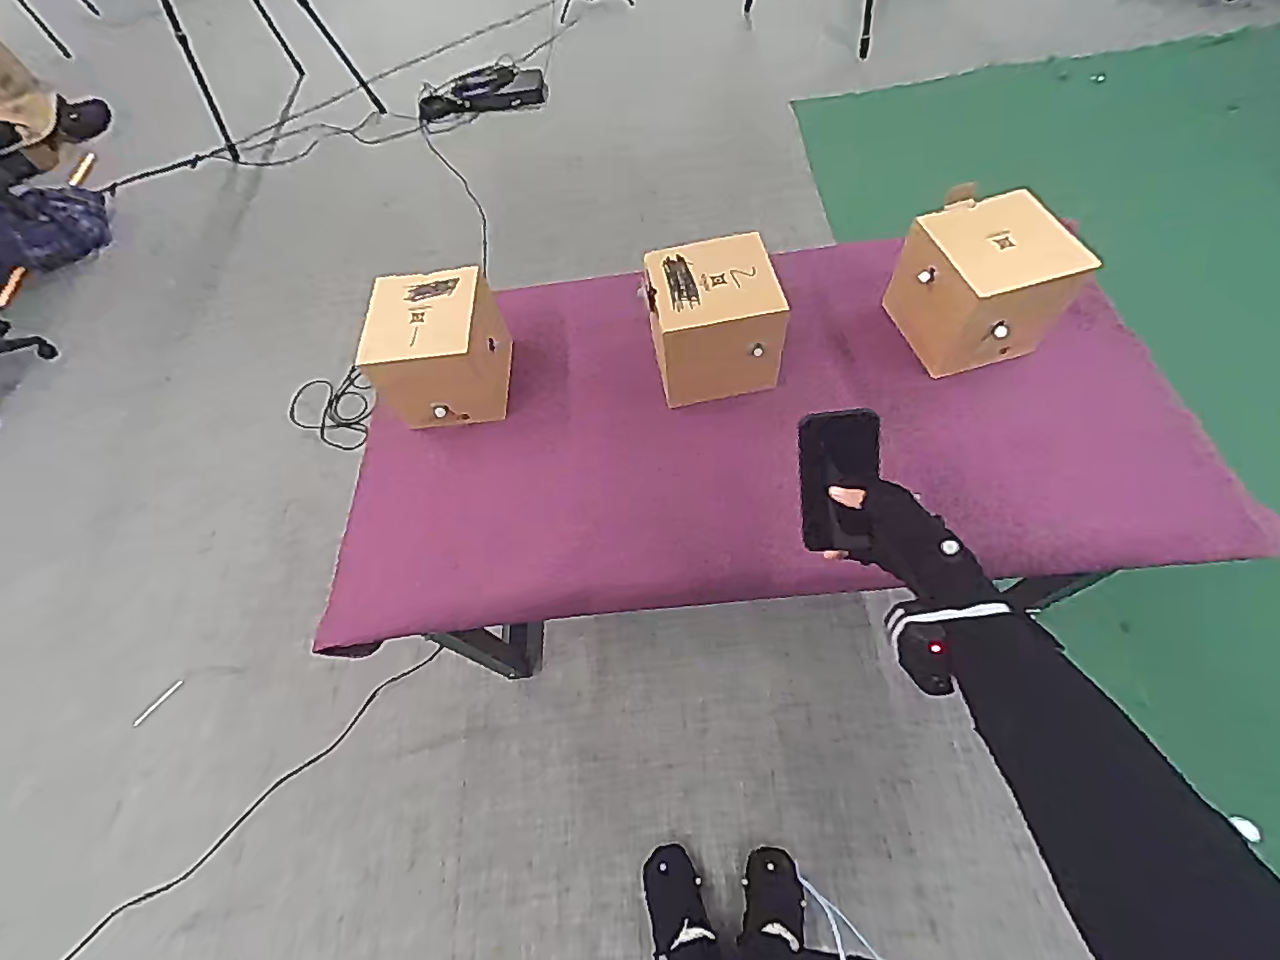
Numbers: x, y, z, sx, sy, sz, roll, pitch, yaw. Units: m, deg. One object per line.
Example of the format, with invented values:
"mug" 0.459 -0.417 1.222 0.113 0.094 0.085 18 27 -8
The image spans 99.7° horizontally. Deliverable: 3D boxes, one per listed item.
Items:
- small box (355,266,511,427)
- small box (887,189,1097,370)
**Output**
"small box" -0.311 -0.206 0.856 0.168 0.176 0.179 -5 63 5
"small box" 0.497 -0.283 0.798 0.168 0.176 0.179 -15 60 -1
